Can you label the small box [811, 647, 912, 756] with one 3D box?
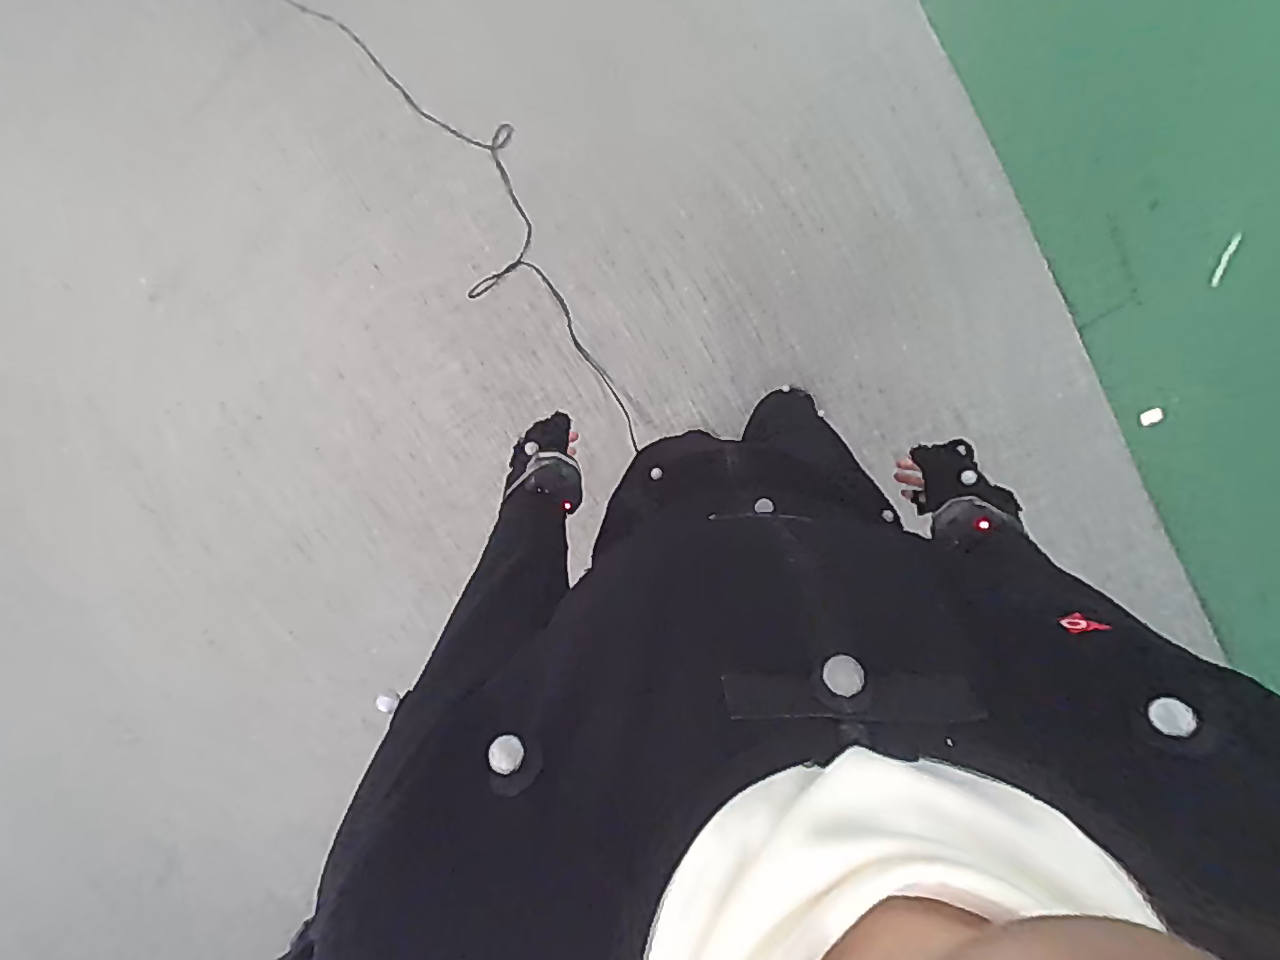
[{"bbox_3d":[0.564,0.570,1.408,0.179,0.176,0.168,-26,98,7],"label":"small box"}]
